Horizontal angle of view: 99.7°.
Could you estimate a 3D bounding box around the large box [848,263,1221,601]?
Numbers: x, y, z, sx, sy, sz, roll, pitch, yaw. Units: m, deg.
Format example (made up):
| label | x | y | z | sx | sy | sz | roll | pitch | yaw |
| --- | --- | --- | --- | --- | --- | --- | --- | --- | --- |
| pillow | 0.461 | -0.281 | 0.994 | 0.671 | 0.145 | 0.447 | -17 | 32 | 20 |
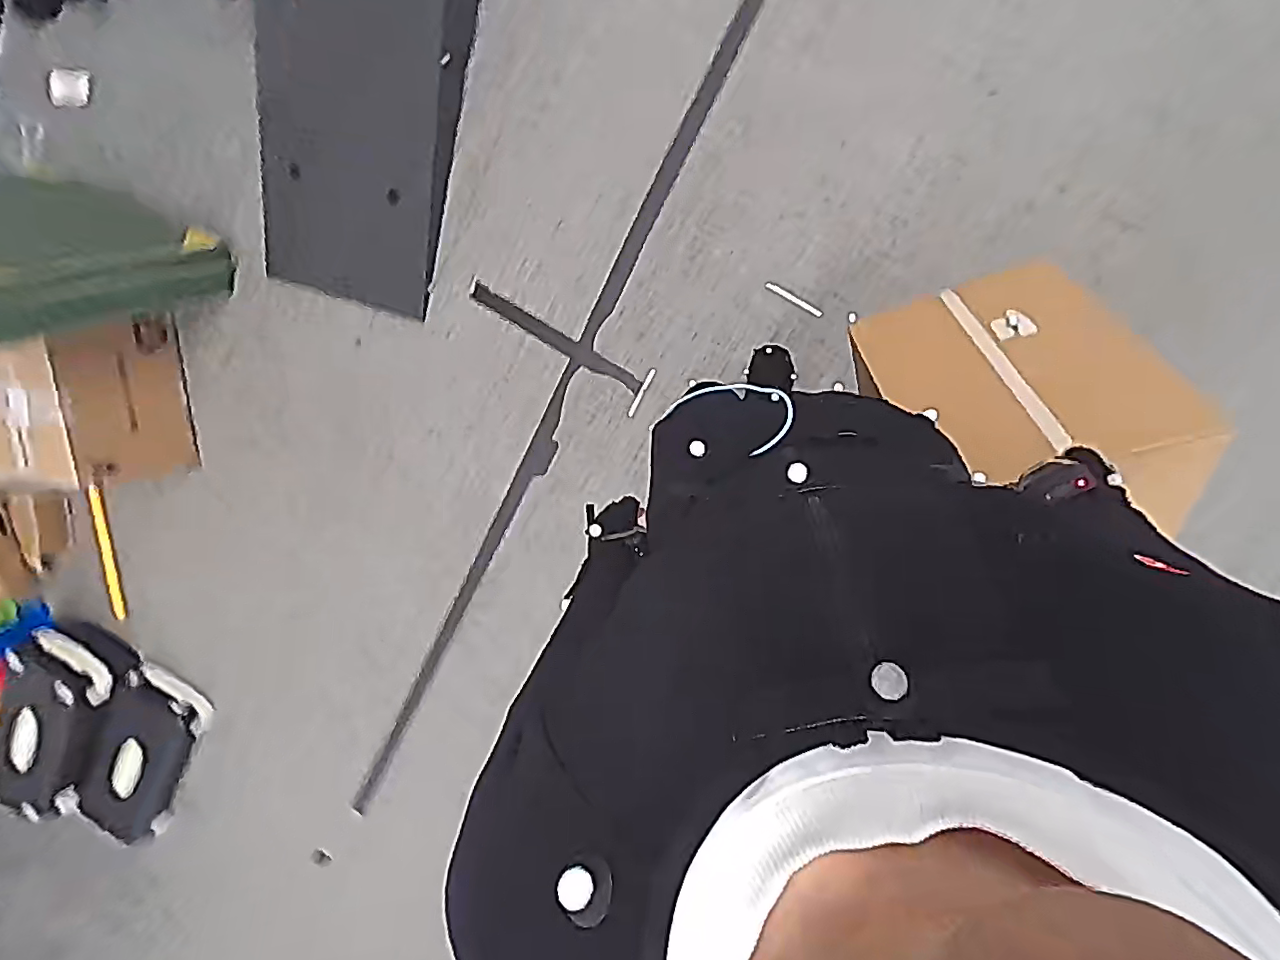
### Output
| label | x | y | z | sx | sy | sz | roll | pitch | yaw |
| --- | --- | --- | --- | --- | --- | --- | --- | --- | --- |
| large box | 0.571 | -0.073 | 0.885 | 0.320 | 0.408 | 0.320 | -15 | 137 | 14 |
